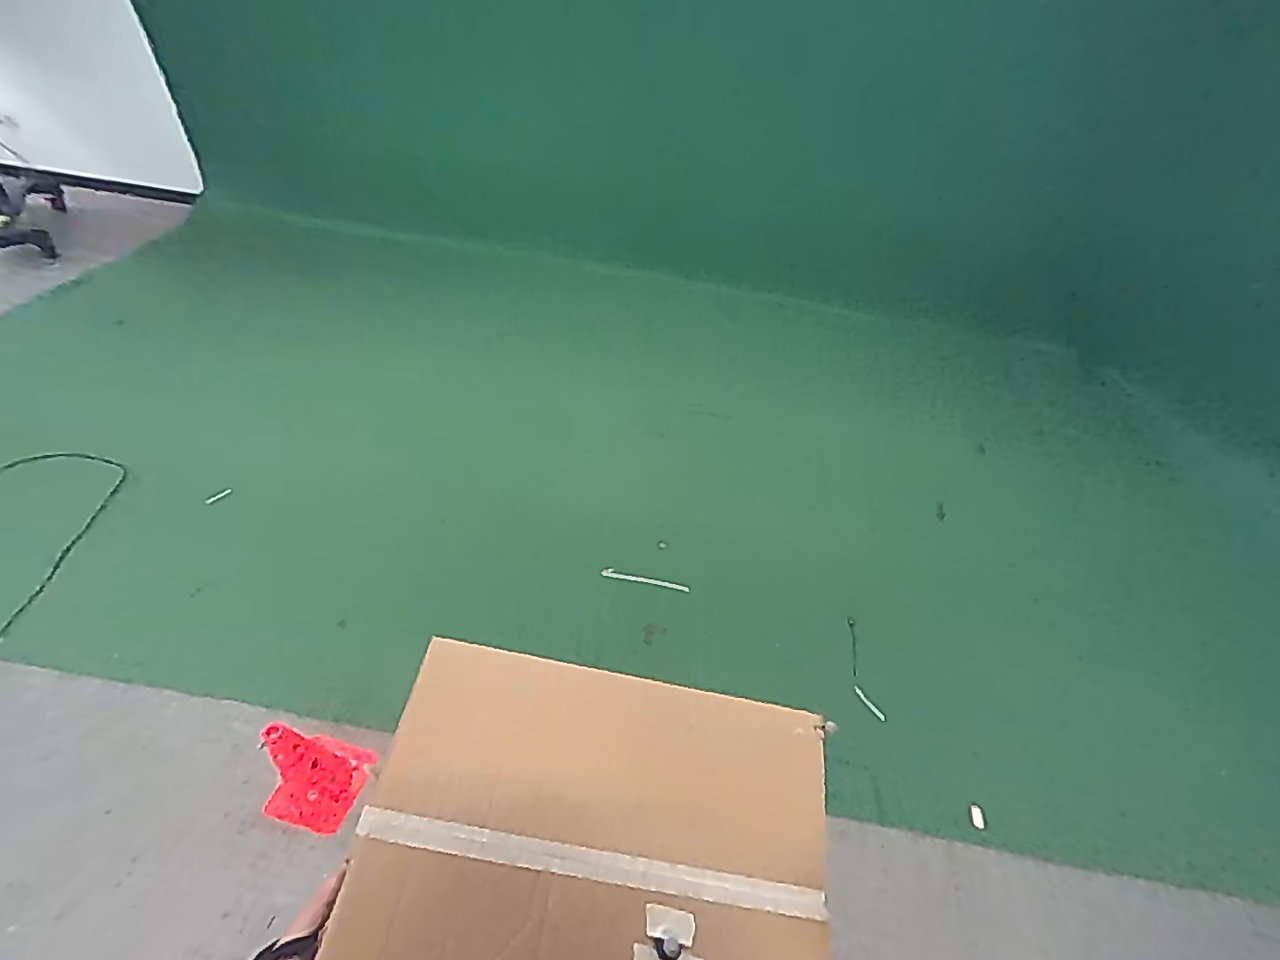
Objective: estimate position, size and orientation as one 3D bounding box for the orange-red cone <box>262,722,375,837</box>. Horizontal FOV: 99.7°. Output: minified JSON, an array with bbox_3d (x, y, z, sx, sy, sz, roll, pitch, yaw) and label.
[{"bbox_3d":[-0.804,0.662,1.272,0.199,0.360,0.198,14,44,8],"label":"orange-red cone"}]

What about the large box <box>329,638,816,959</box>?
[{"bbox_3d":[-0.057,0.401,0.608,0.408,0.320,0.320,12,59,-3],"label":"large box"}]
